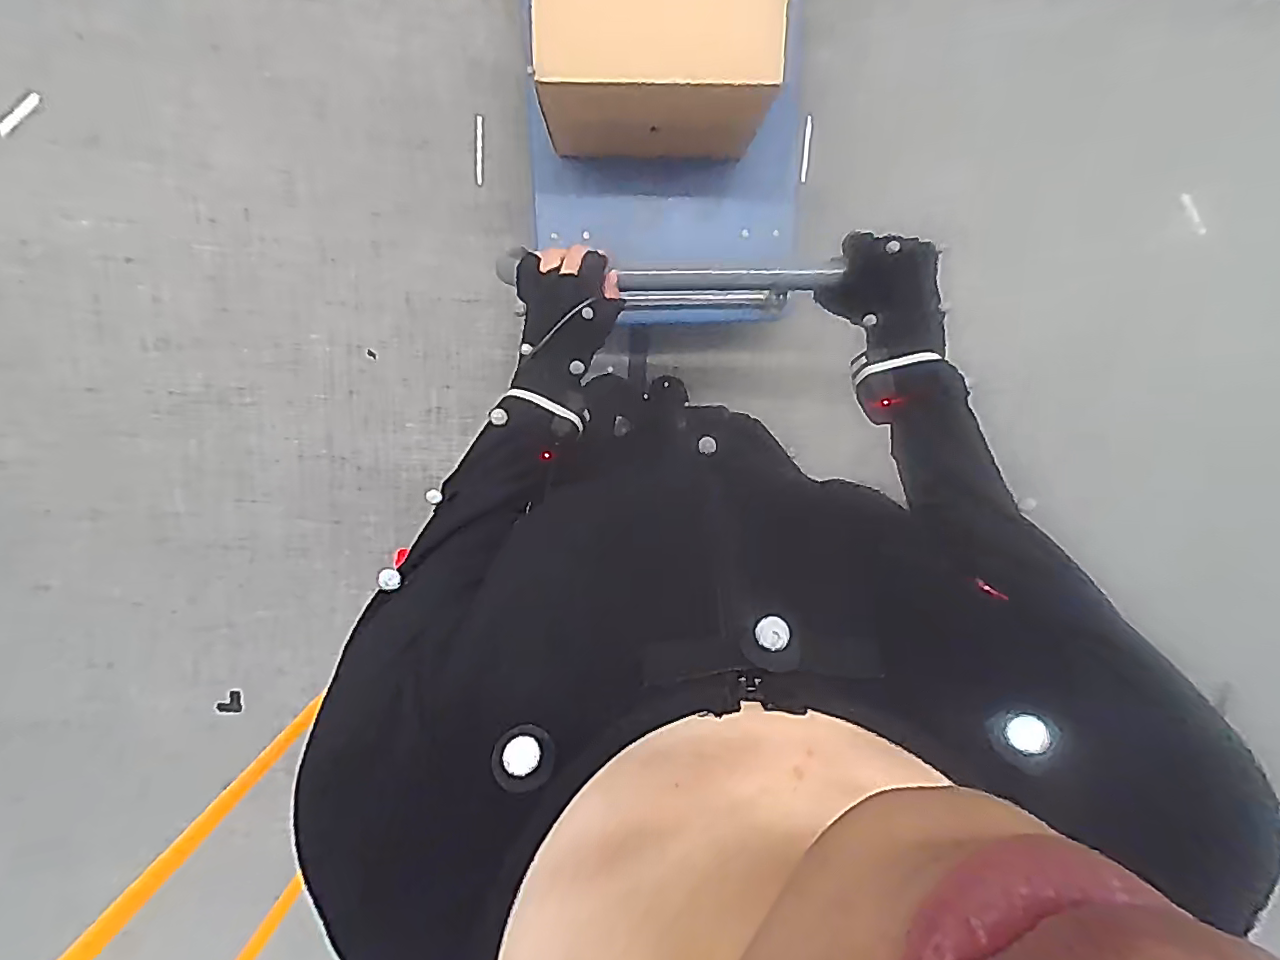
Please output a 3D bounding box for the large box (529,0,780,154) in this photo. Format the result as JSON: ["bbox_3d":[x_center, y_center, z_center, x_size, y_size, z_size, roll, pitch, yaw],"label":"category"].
[{"bbox_3d":[0.022,-0.818,0.990,0.408,0.320,0.320,0,102,-1],"label":"large box"}]

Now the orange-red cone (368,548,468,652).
[{"bbox_3d":[-0.581,0.322,1.342,0.198,0.360,0.199,10,99,-4],"label":"orange-red cone"}]
